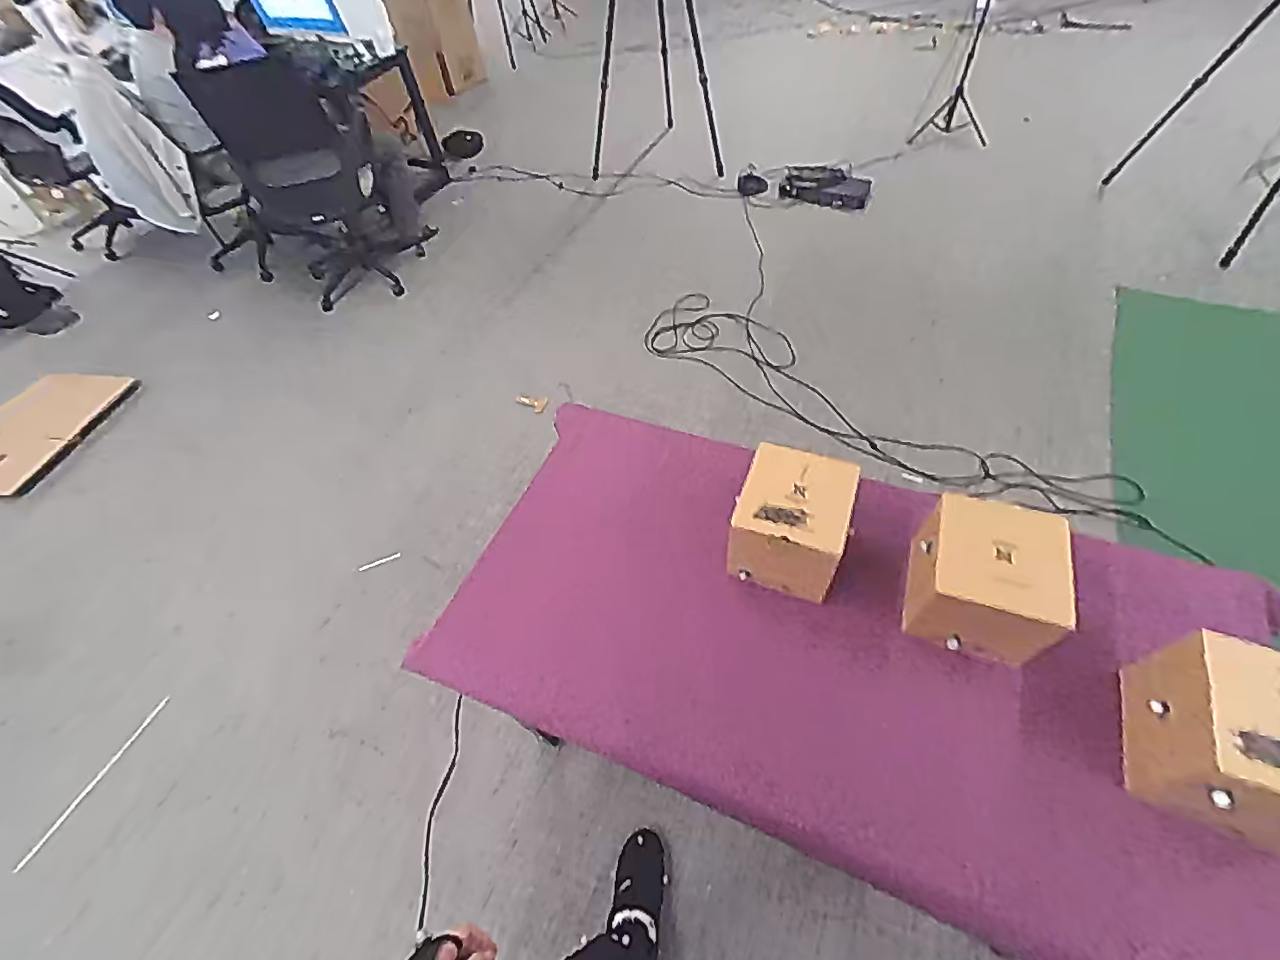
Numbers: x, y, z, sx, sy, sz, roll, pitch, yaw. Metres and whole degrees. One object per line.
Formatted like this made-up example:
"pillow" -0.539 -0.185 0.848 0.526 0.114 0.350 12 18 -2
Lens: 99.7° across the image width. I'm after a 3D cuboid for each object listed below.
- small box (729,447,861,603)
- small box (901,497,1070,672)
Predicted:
"small box" 0.252 0.078 0.902 0.168 0.176 0.179 16 56 17
"small box" 0.511 0.159 0.816 0.168 0.176 0.179 16 57 18
